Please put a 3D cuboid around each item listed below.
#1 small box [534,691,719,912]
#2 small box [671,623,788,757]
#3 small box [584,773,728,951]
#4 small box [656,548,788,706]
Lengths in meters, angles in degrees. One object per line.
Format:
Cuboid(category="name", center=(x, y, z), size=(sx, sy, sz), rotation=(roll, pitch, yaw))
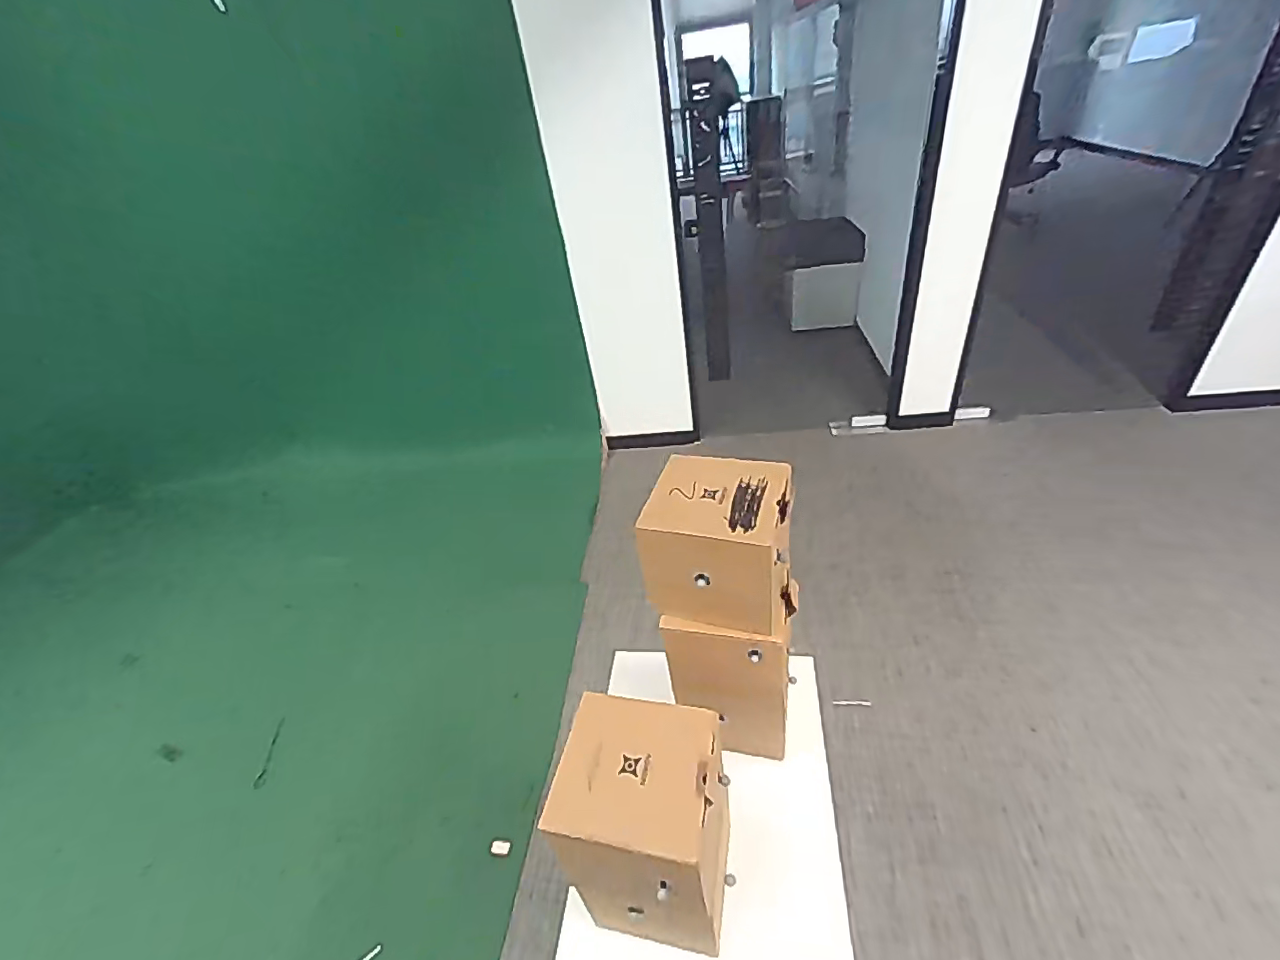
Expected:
Cuboid(category="small box", center=(-0.001, 0.388, 0.657), size=(0.179, 0.176, 0.168), rotation=(2, 36, 15))
Cuboid(category="small box", center=(0.163, 0.354, 0.942), size=(0.179, 0.176, 0.168), rotation=(2, 39, 17))
Cuboid(category="small box", center=(0.025, 0.516, 0.754), size=(0.179, 0.176, 0.168), rotation=(3, 37, 15))
Cuboid(category="small box", center=(0.136, 0.227, 0.844), size=(0.179, 0.176, 0.168), rotation=(3, 38, 16))
